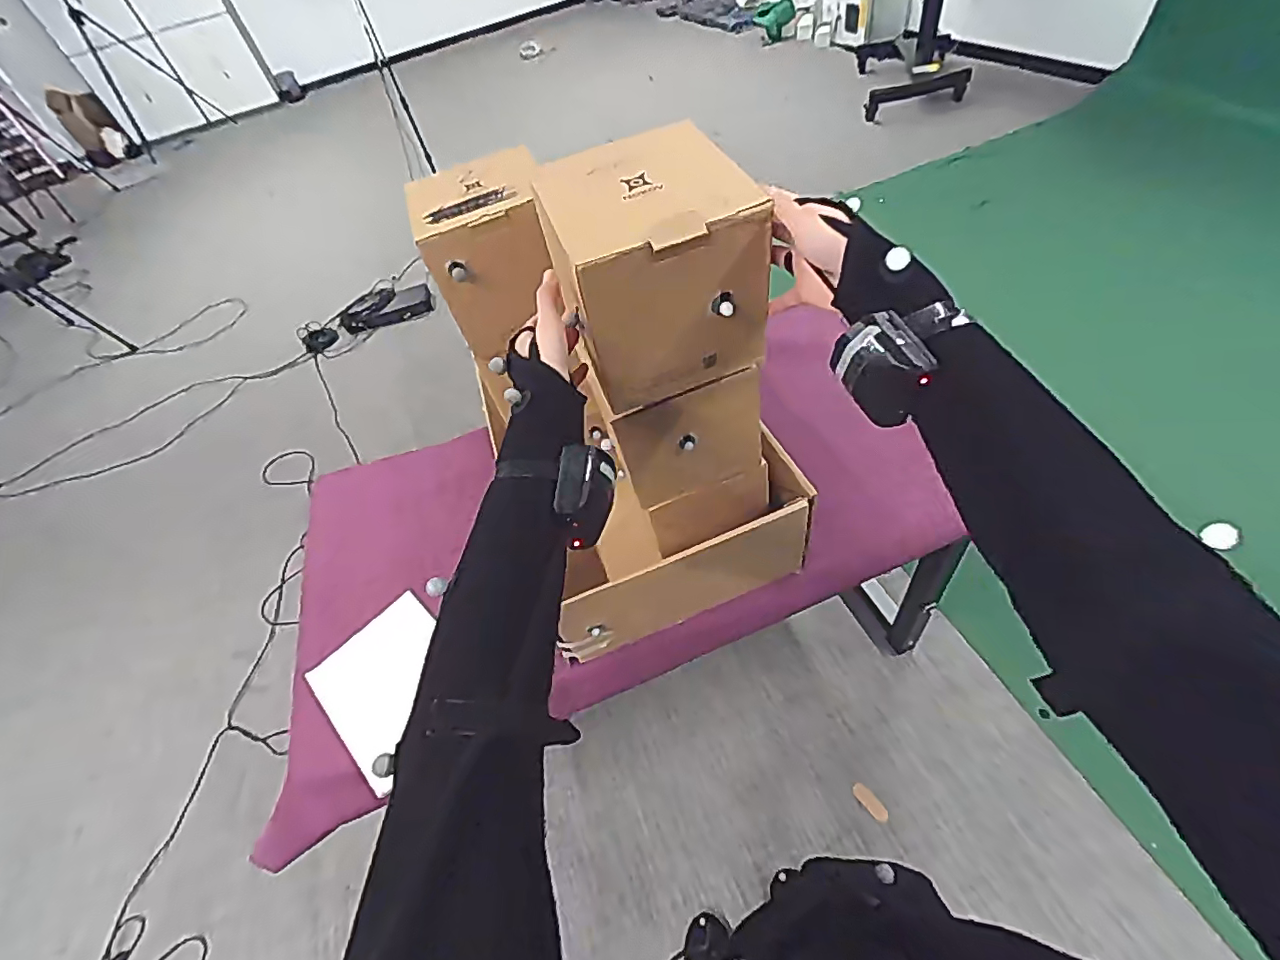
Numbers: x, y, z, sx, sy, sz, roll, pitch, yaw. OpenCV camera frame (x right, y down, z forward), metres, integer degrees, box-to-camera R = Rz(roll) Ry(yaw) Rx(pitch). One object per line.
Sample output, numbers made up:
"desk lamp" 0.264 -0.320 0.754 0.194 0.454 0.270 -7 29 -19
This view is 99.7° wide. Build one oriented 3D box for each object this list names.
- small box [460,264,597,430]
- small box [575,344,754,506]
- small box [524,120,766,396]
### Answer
"small box" -0.161 -0.200 0.844 0.168 0.176 0.179 -21 51 -4
"small box" 0.037 -0.098 0.701 0.179 0.176 0.168 -22 48 -2
"small box" 0.007 -0.203 0.521 0.168 0.176 0.179 -20 54 -6
